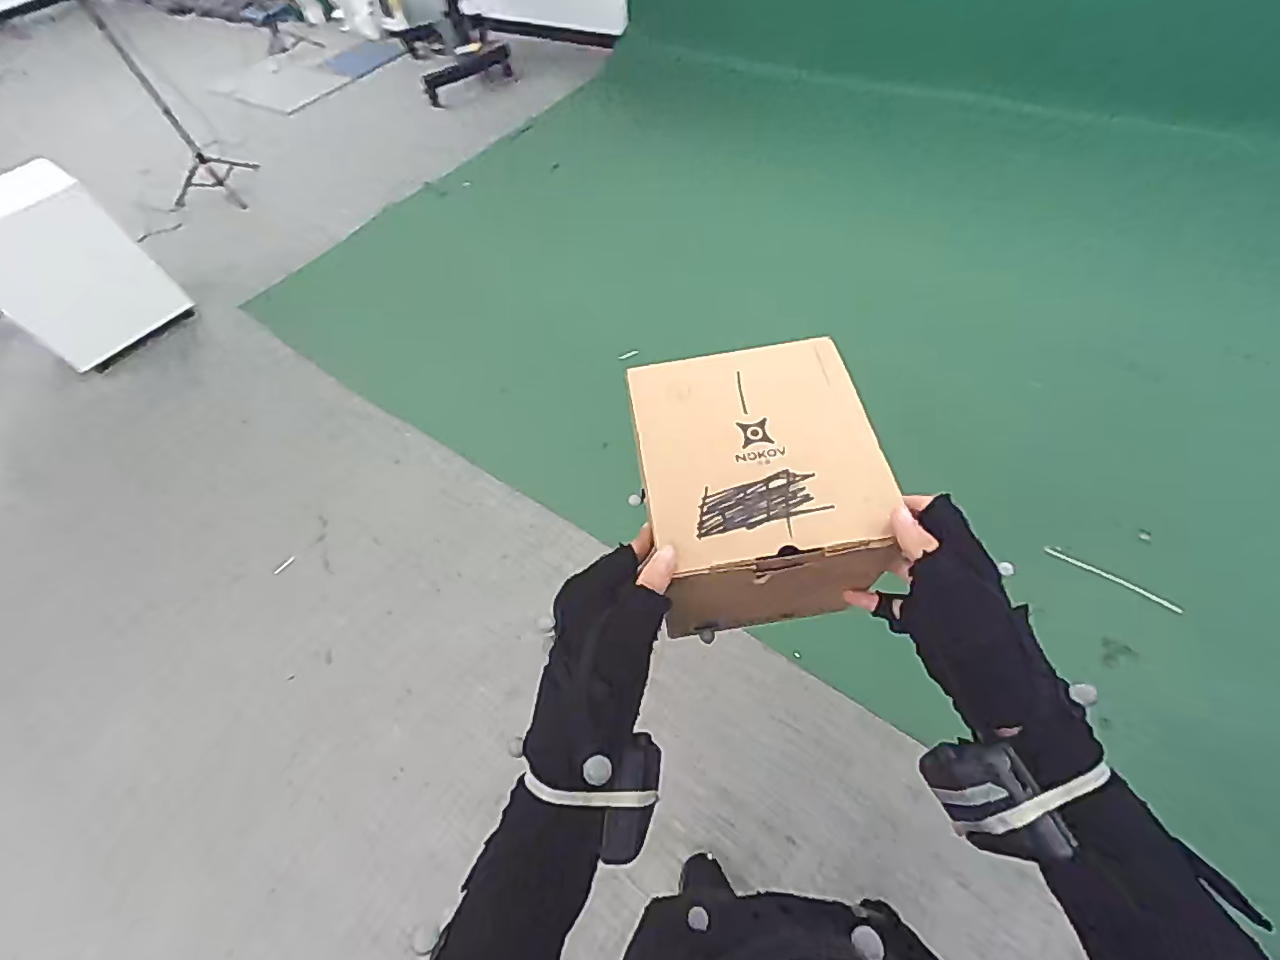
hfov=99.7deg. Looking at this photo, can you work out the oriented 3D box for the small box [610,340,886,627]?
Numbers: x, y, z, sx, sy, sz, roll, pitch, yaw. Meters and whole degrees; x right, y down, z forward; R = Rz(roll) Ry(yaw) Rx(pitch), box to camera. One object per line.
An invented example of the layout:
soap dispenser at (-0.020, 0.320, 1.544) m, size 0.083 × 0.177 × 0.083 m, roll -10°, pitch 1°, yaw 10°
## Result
small box at (0.074, 0.015, 0.454) m, size 0.168 × 0.176 × 0.179 m, roll -9°, pitch 59°, yaw 0°
